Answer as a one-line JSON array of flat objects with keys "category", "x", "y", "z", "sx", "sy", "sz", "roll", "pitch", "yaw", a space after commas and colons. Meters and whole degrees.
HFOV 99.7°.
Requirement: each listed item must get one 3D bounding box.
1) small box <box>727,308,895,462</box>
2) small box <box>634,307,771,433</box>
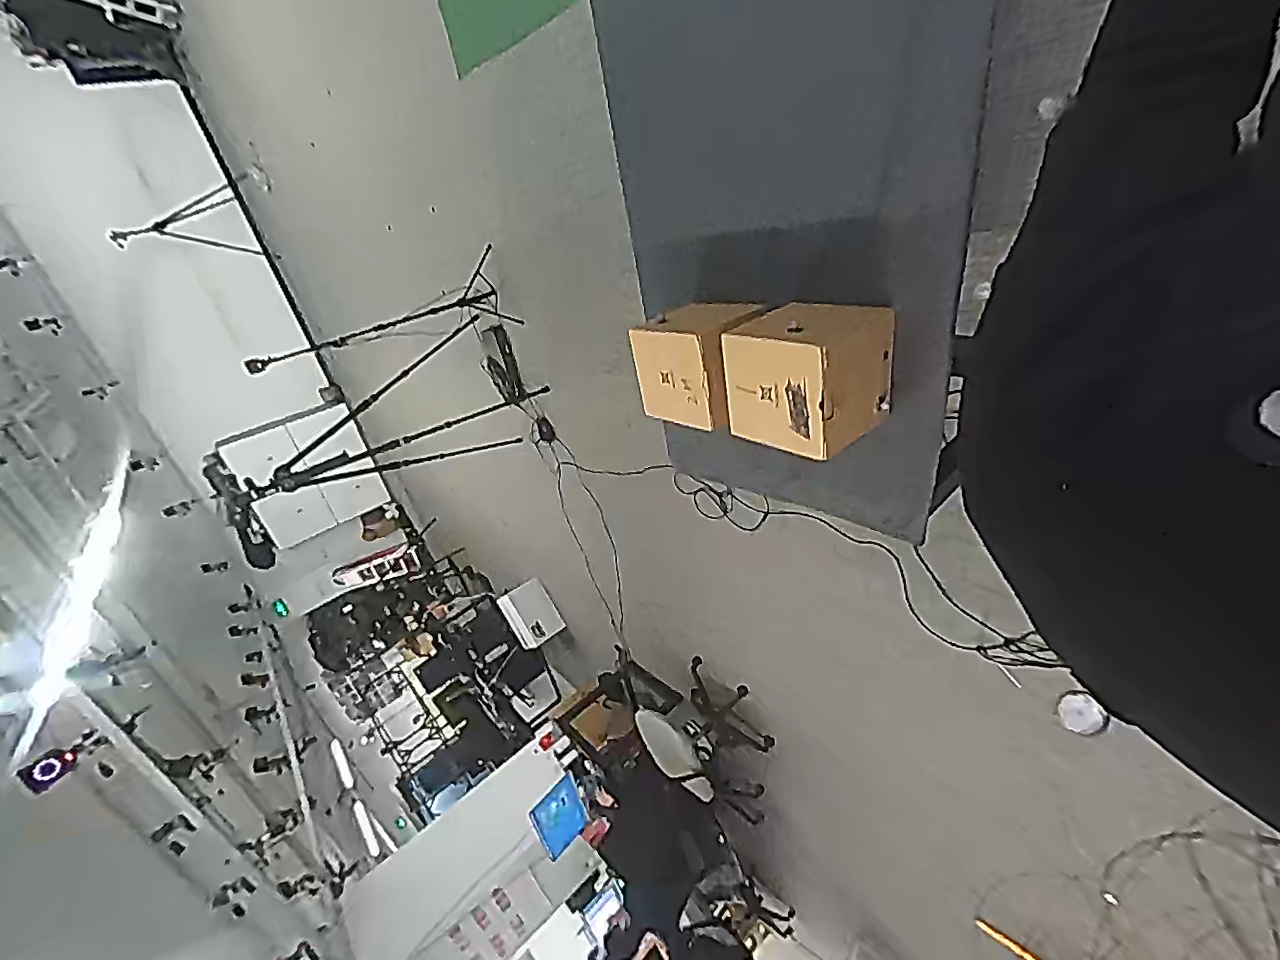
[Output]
[{"category": "small box", "x": 0.255, "y": -0.151, "z": 0.807, "sx": 0.179, "sy": 0.176, "sz": 0.168, "roll": 24, "pitch": 134, "yaw": 47}, {"category": "small box", "x": 0.117, "y": -0.203, "z": 0.965, "sx": 0.179, "sy": 0.176, "sz": 0.168, "roll": 21, "pitch": 133, "yaw": 46}]
